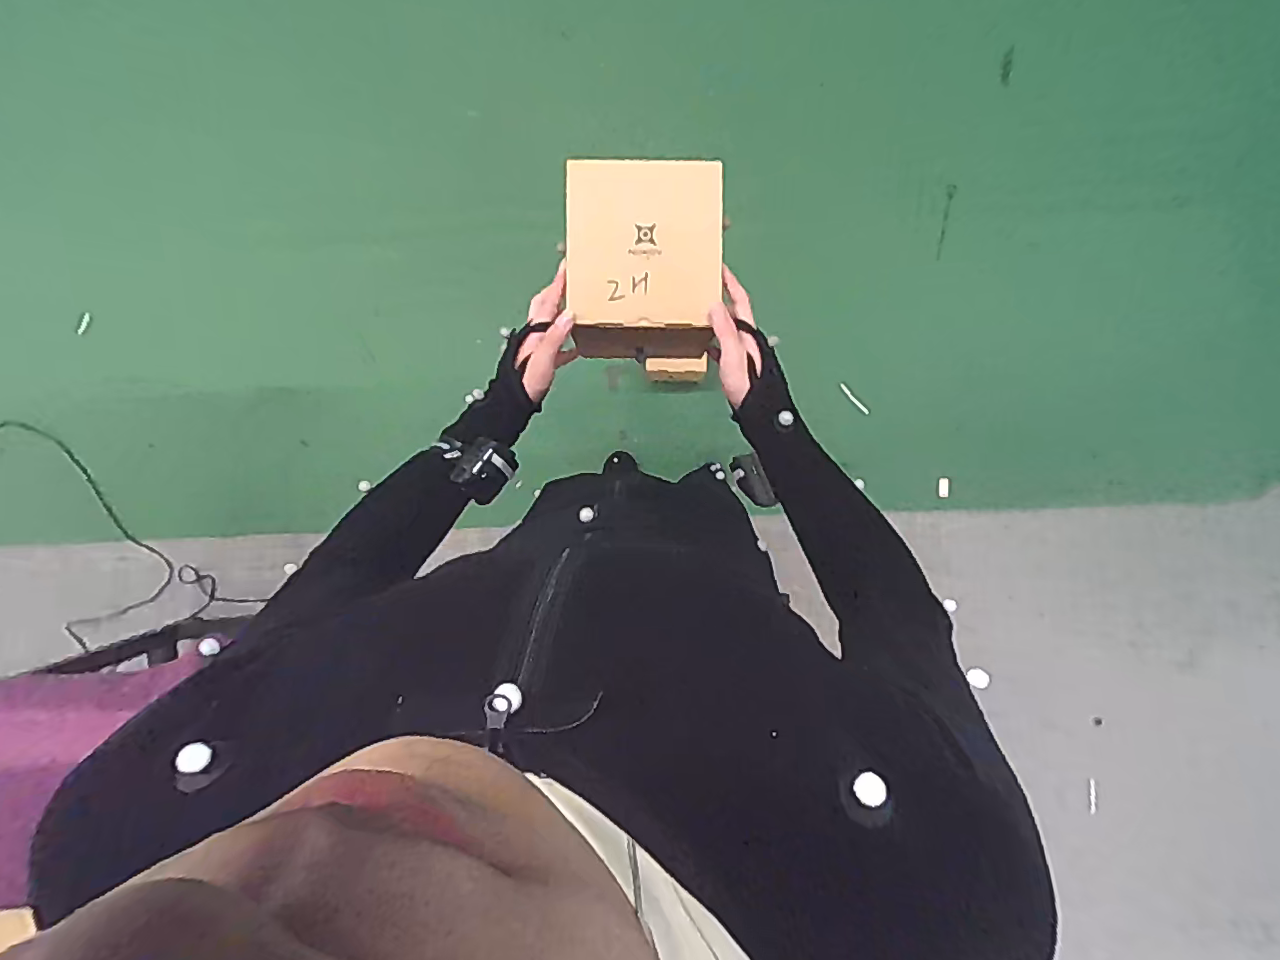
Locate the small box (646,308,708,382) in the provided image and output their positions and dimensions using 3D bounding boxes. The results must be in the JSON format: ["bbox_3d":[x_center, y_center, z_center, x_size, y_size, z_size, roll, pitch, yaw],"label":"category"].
[{"bbox_3d":[0.101,-0.380,1.539,0.168,0.176,0.179,1,93,2],"label":"small box"}]
